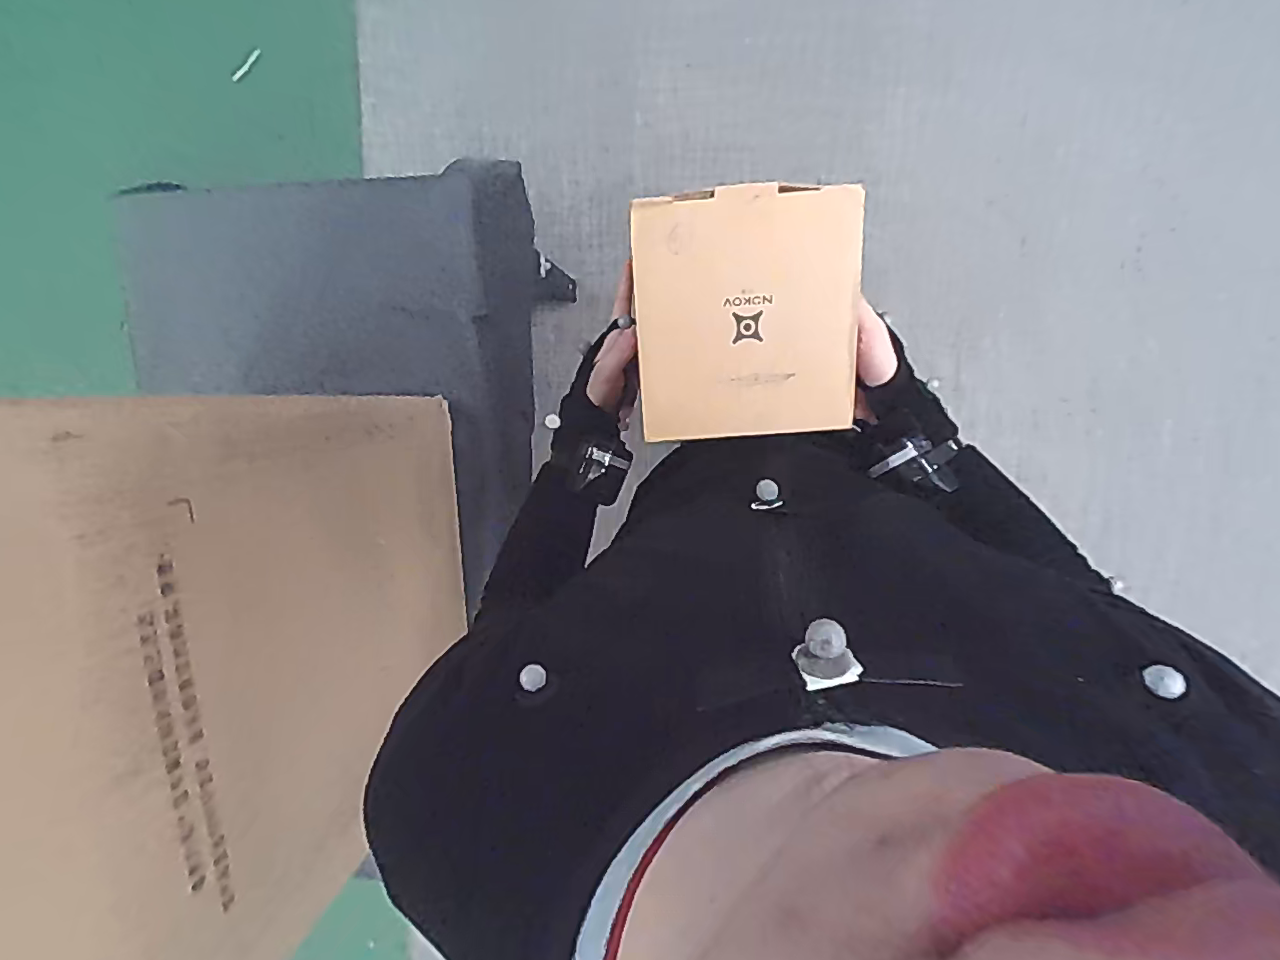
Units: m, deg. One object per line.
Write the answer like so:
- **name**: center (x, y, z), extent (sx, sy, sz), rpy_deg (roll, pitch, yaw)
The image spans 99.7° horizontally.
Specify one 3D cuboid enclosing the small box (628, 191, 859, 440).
- **small box**: center (0.075, -0.143, 0.481), extent (0.168, 0.176, 0.179), rpy_deg (-3, 110, 0)
